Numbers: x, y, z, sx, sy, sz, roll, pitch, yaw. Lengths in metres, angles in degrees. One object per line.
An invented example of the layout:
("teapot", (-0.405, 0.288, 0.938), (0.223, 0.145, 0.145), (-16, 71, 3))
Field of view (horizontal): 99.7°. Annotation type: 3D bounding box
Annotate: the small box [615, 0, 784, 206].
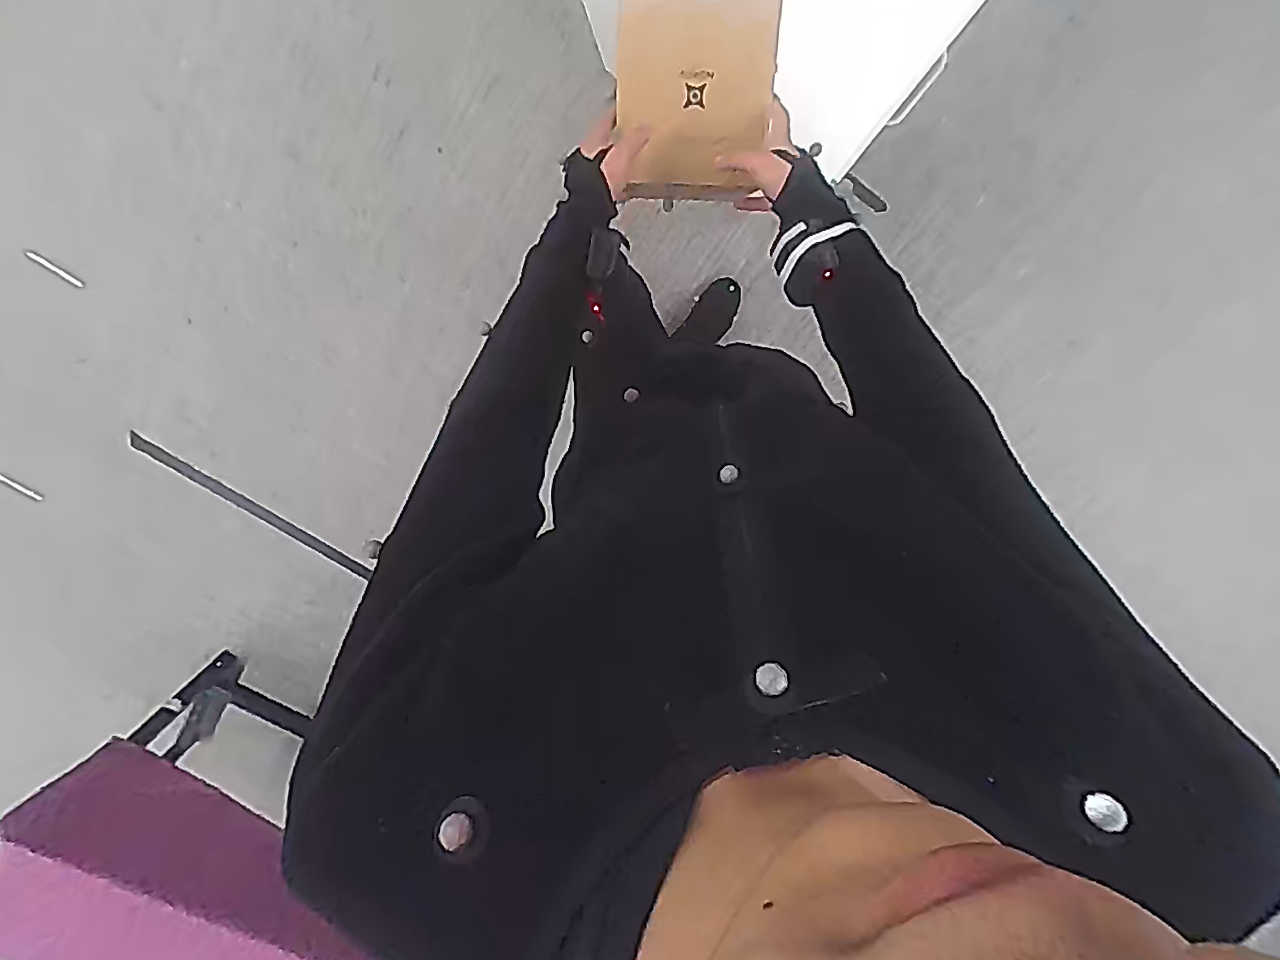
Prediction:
("small box", (0.057, -0.432, 0.636), (0.168, 0.176, 0.179), (2, 112, -1))
